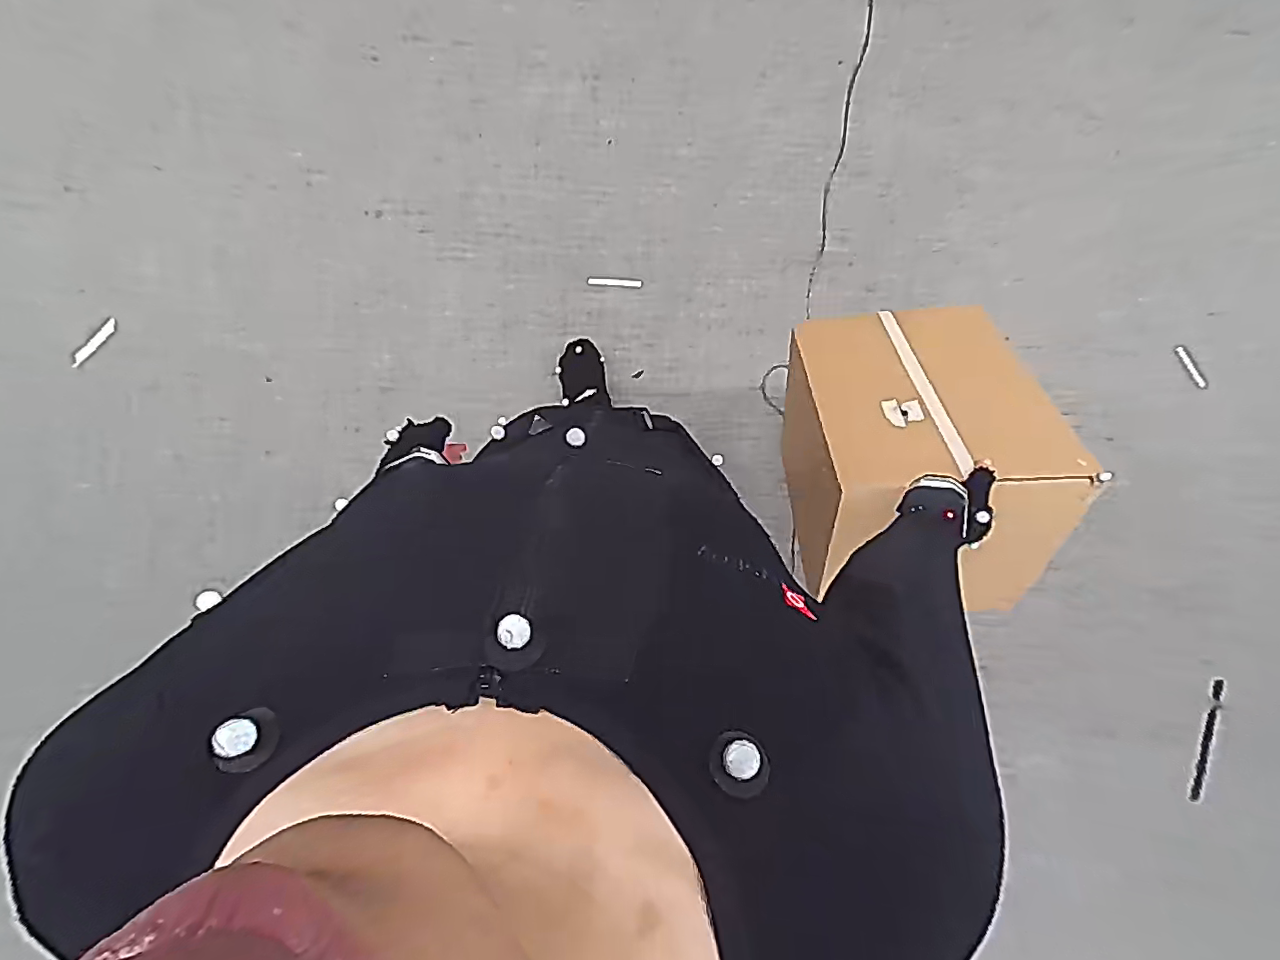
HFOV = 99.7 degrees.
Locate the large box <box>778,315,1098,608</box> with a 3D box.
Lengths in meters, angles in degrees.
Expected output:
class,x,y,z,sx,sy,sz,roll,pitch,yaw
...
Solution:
class,x,y,z,sx,sy,sz,roll,pitch,yaw
large box,0.436,-0.035,0.926,0.320,0.408,0.320,-3,137,5
